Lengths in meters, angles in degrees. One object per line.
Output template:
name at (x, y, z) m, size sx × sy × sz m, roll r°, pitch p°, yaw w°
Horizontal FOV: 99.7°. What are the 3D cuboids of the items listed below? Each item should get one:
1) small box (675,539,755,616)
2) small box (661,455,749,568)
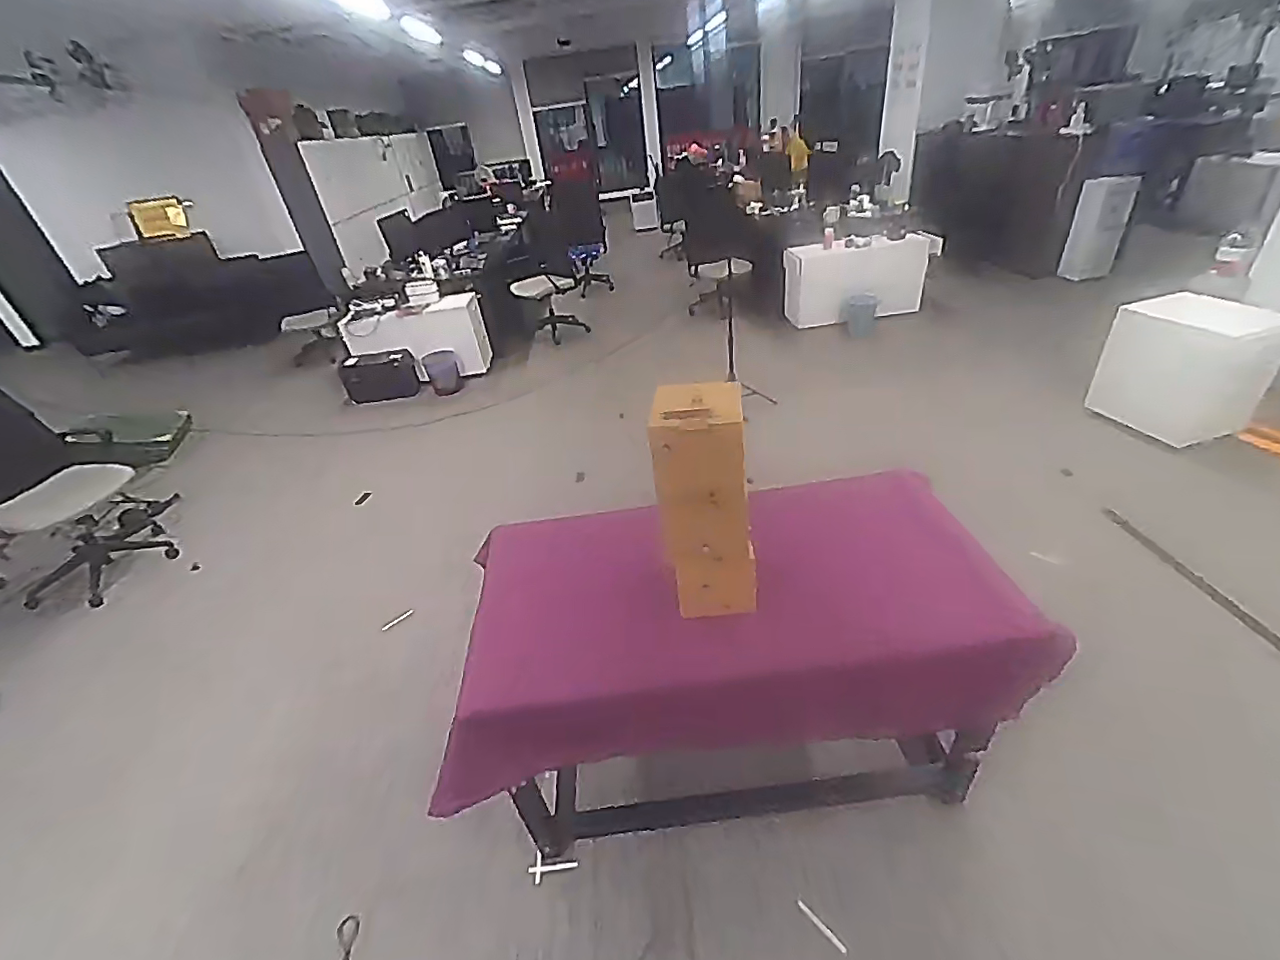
small box at (0.166, 0.193, 1.230) m, size 0.168 × 0.176 × 0.179 m, roll -6°, pitch 33°, yaw 4°
small box at (0.140, 0.064, 1.130) m, size 0.168 × 0.176 × 0.179 m, roll -3°, pitch 34°, yaw 10°
